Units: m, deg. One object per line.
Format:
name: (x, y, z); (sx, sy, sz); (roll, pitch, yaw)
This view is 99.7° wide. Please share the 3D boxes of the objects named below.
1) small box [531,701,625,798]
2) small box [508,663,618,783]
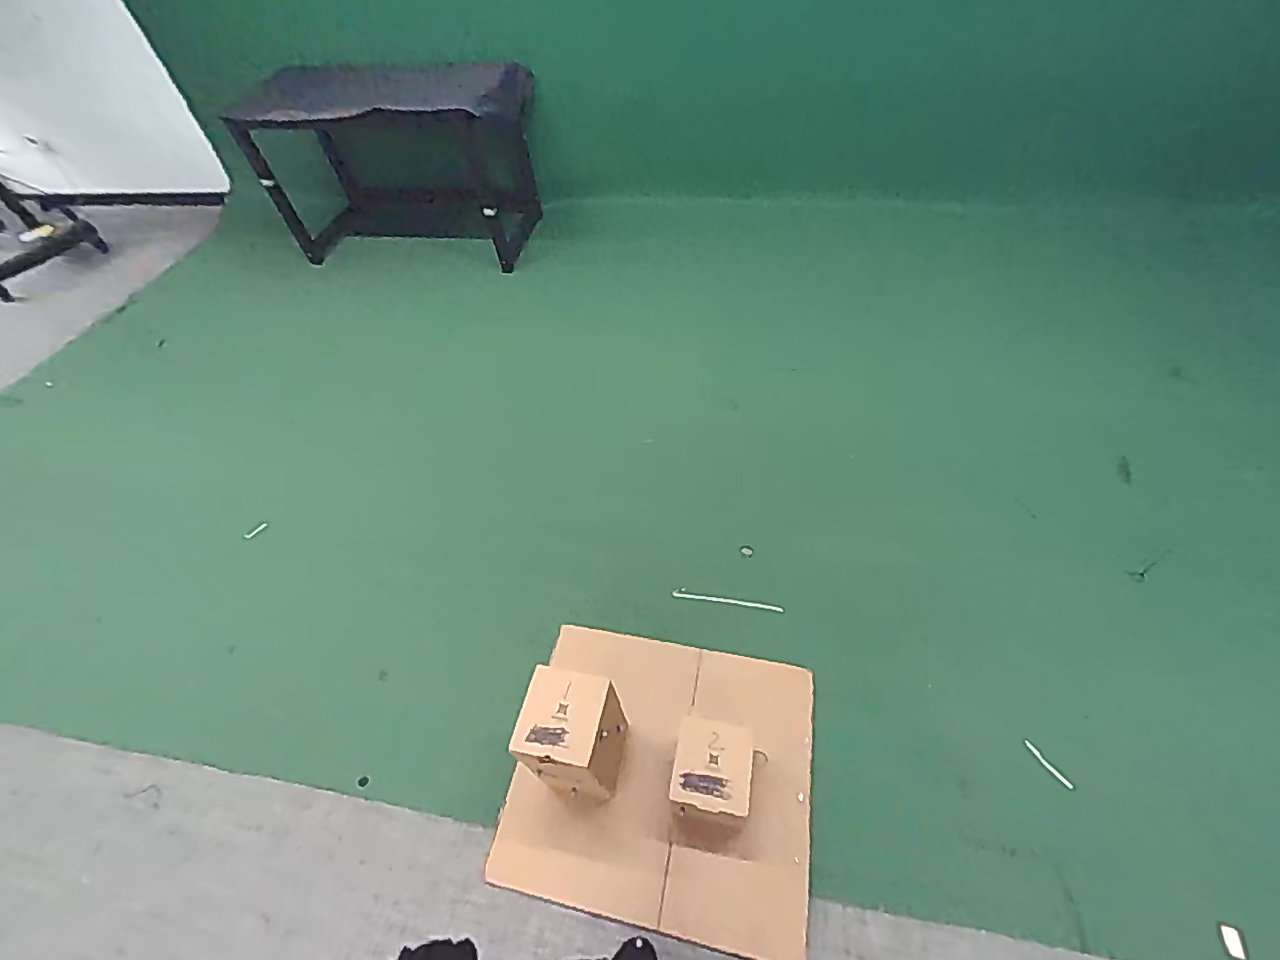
small box: (-0.135, 0.619, 1.264); (0.168, 0.176, 0.179); (5, 52, 12)
small box: (-0.150, 0.515, 1.138); (0.168, 0.176, 0.179); (7, 51, 12)
